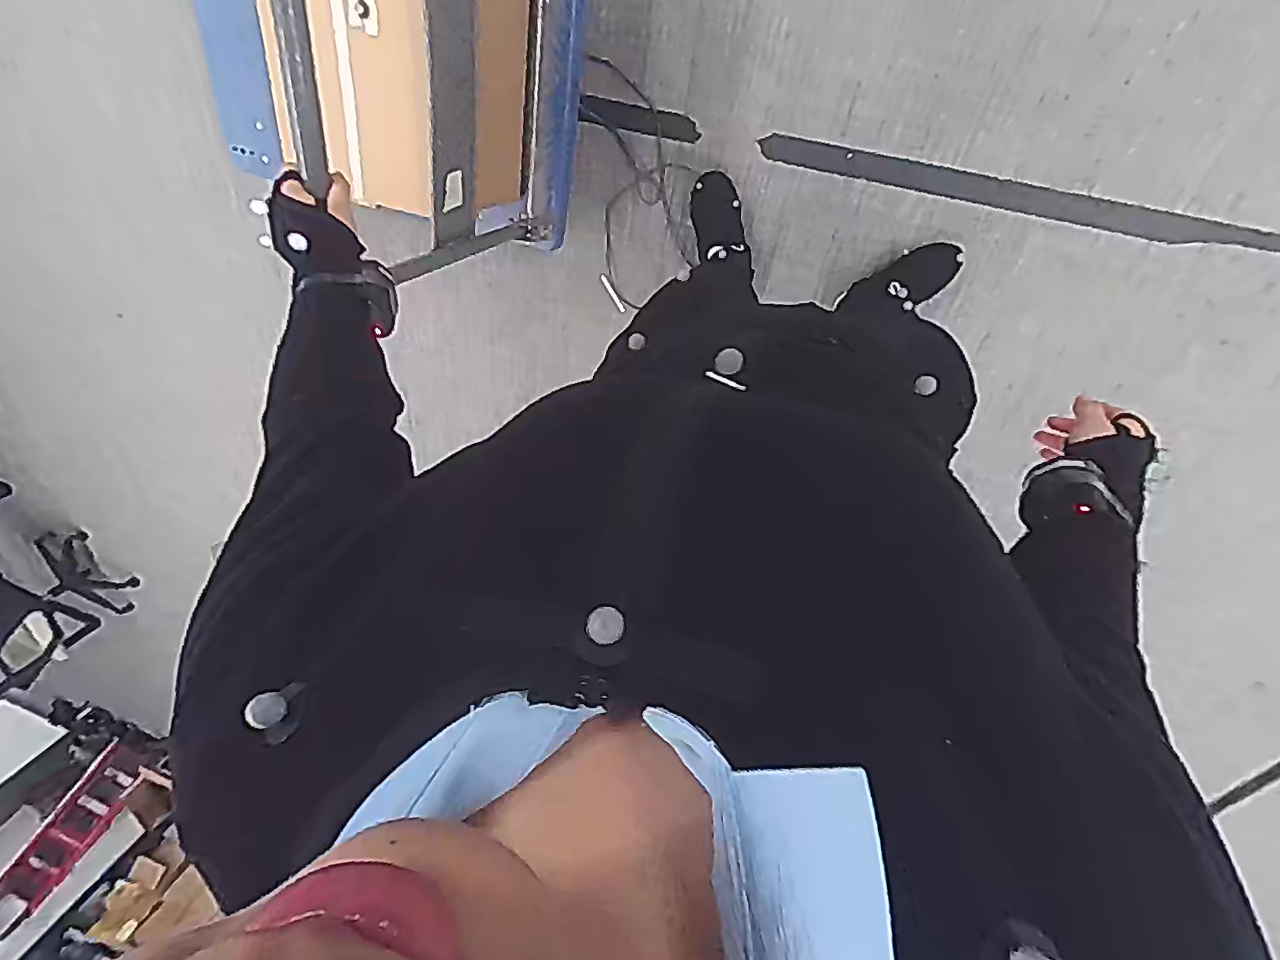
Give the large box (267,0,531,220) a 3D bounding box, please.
[{"bbox_3d":[-0.409,-0.732,0.981,0.320,0.320,0.408,18,124,7],"label":"large box"}]
